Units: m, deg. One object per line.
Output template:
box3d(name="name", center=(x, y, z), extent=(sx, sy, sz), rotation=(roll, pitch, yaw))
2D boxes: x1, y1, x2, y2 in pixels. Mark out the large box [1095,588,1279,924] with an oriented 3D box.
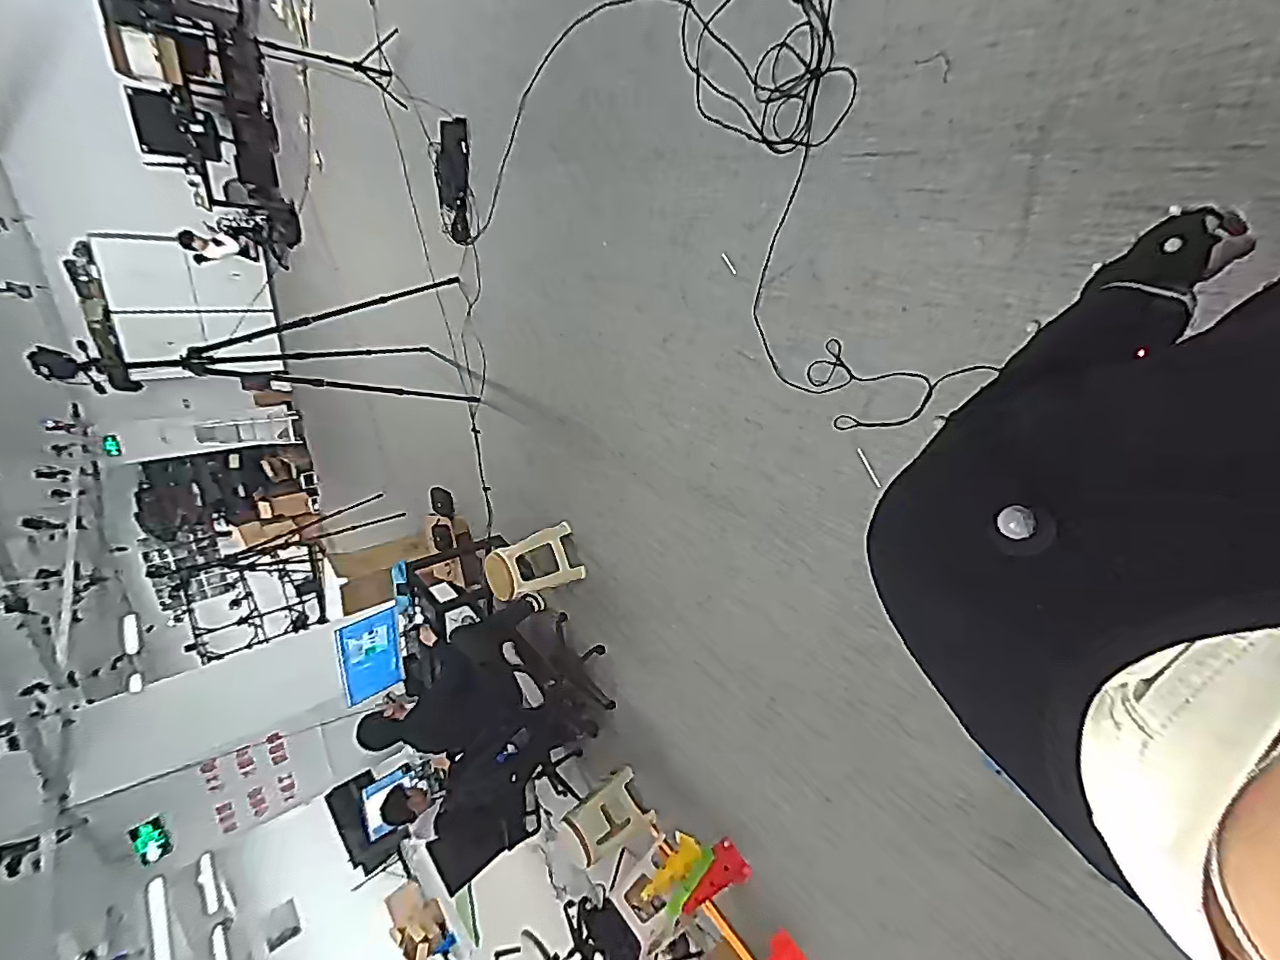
box3d(name="large box", center=(1.117, 0.474, 0.957), extent=(0.320, 0.320, 0.408), rotation=(35, 128, 37))
